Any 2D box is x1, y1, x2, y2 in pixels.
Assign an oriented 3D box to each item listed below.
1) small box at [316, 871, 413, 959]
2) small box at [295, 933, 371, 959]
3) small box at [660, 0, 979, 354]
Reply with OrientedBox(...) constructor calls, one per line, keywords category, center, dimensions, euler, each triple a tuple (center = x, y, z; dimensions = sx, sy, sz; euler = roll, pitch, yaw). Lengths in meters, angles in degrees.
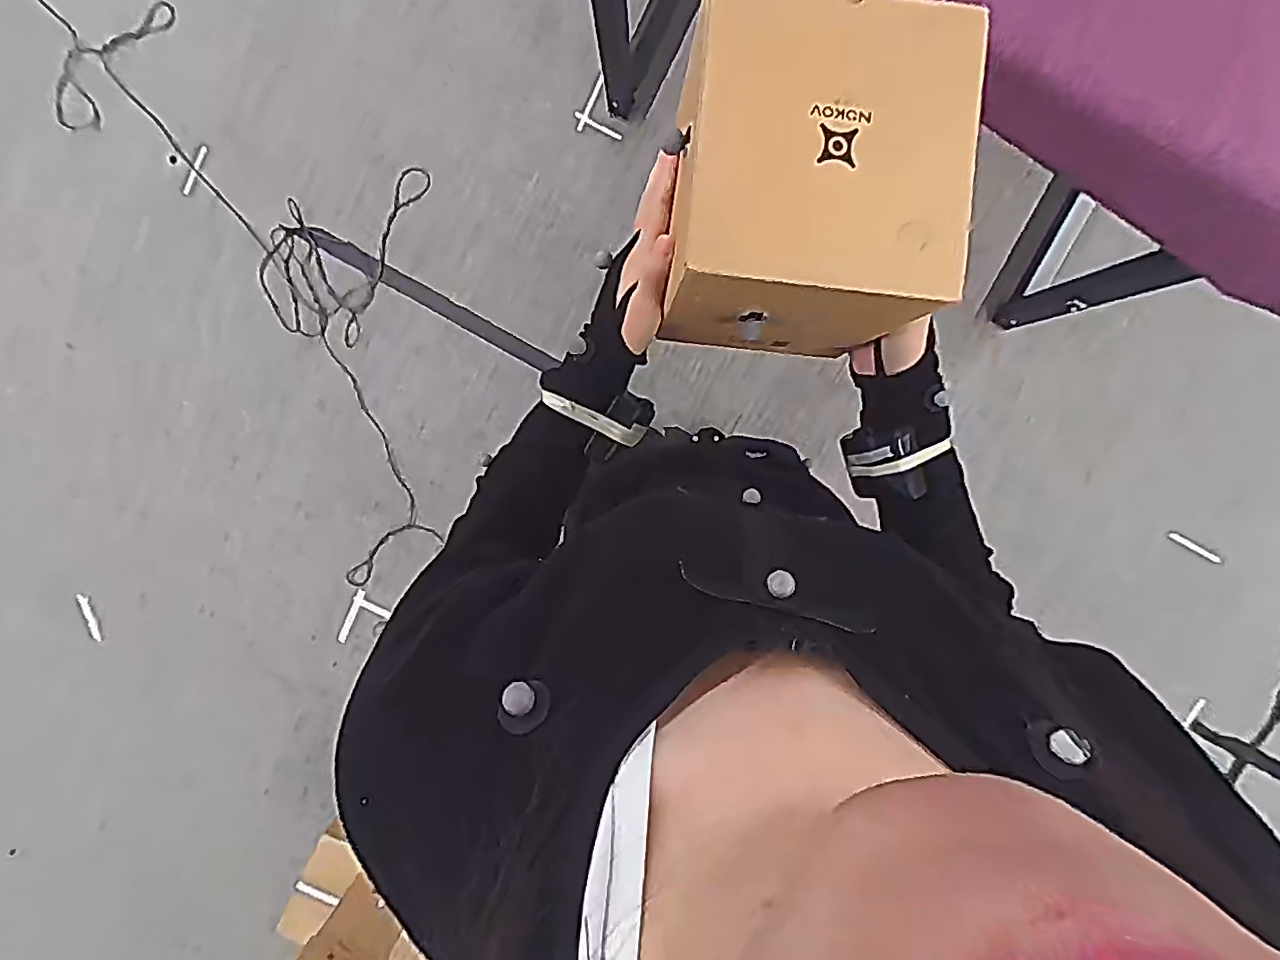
OrientedBox(category="small box", center=(-0.660, 1.076, 1.259), dimensions=(0.168, 0.176, 0.179), euler=(25, 96, -2))
OrientedBox(category="small box", center=(-0.667, 1.086, 1.098), dimensions=(0.168, 0.176, 0.179), euler=(24, 97, 0))
OrientedBox(category="small box", center=(0.108, -0.199, 0.397), dimensions=(0.168, 0.176, 0.179), euler=(4, 90, -5))
